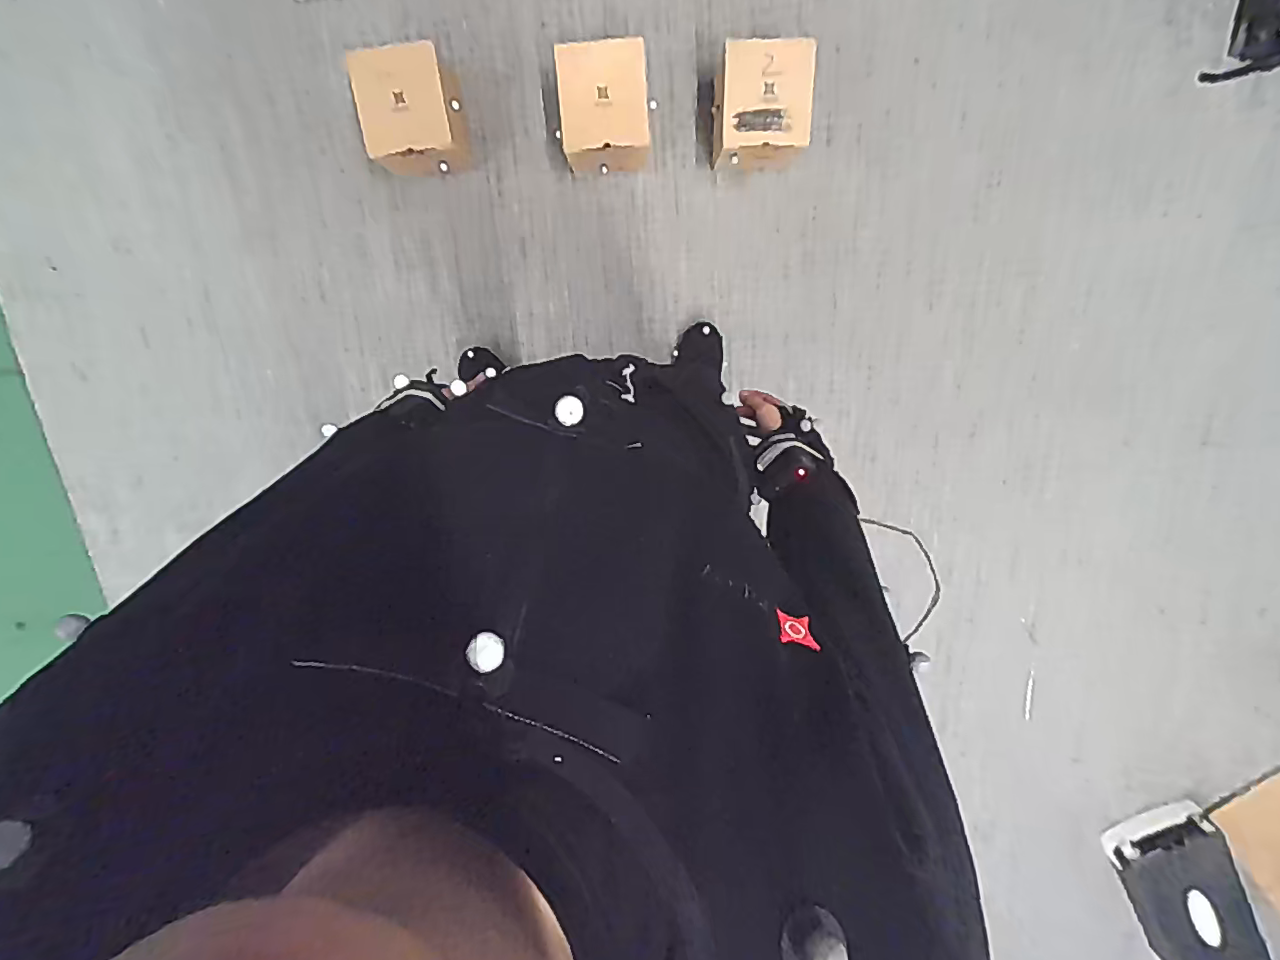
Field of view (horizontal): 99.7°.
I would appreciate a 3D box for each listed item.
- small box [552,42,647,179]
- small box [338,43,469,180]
[{"bbox_3d":[-0.075,-0.716,1.063,0.168,0.176,0.179,-4,106,0],"label":"small box"},{"bbox_3d":[-0.451,-0.709,1.063,0.168,0.176,0.179,-7,105,1],"label":"small box"}]
